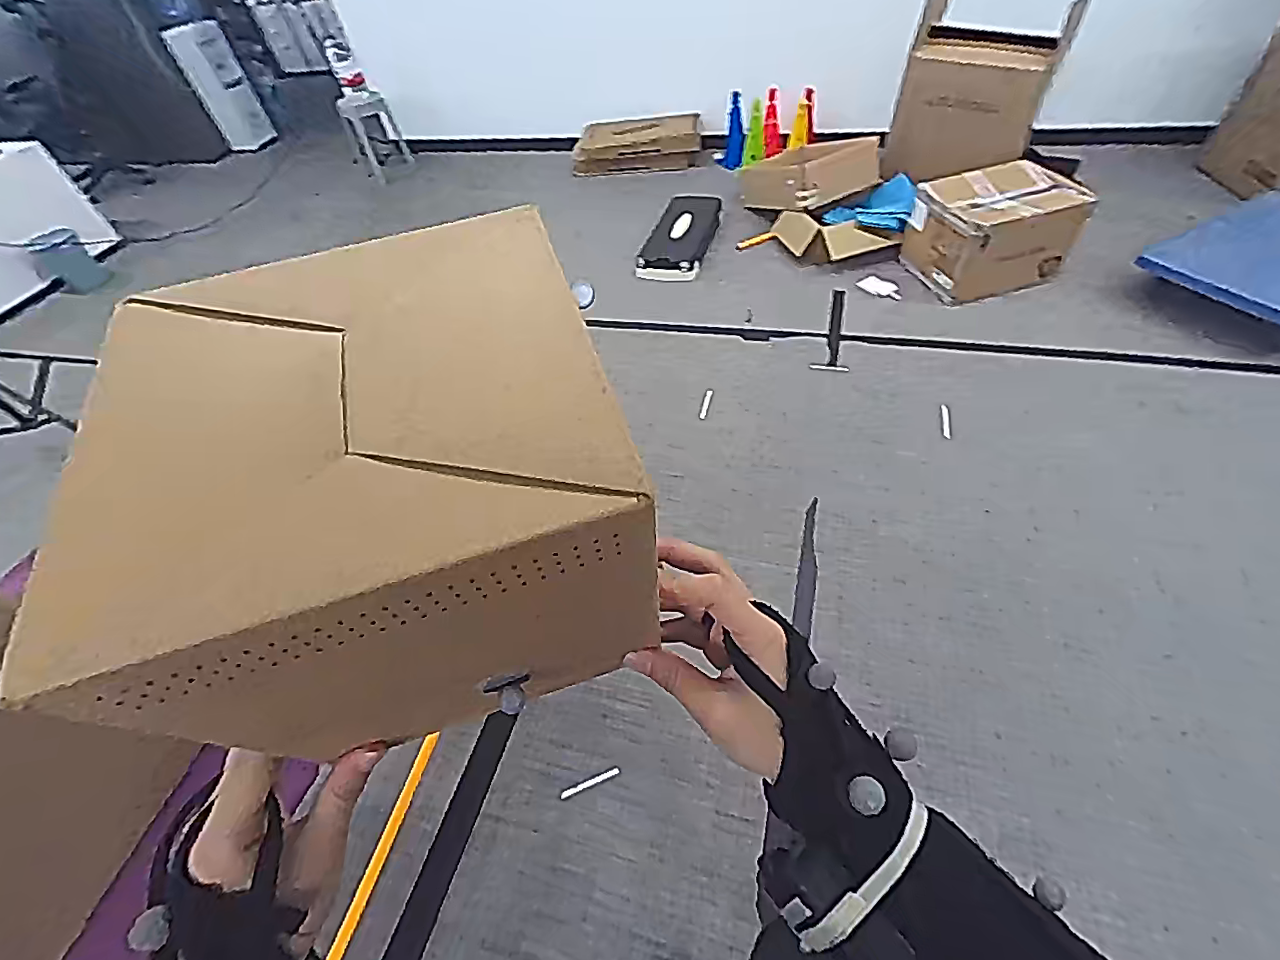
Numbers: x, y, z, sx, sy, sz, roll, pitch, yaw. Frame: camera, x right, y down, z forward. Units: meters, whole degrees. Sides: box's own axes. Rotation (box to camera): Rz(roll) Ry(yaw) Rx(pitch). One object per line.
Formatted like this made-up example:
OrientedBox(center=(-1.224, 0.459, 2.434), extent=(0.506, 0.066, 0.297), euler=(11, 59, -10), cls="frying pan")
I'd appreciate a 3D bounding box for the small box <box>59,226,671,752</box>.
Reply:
OrientedBox(center=(-0.092, 0.008, 0.258), extent=(0.179, 0.176, 0.168), euler=(-16, 58, -8), cls="small box")
